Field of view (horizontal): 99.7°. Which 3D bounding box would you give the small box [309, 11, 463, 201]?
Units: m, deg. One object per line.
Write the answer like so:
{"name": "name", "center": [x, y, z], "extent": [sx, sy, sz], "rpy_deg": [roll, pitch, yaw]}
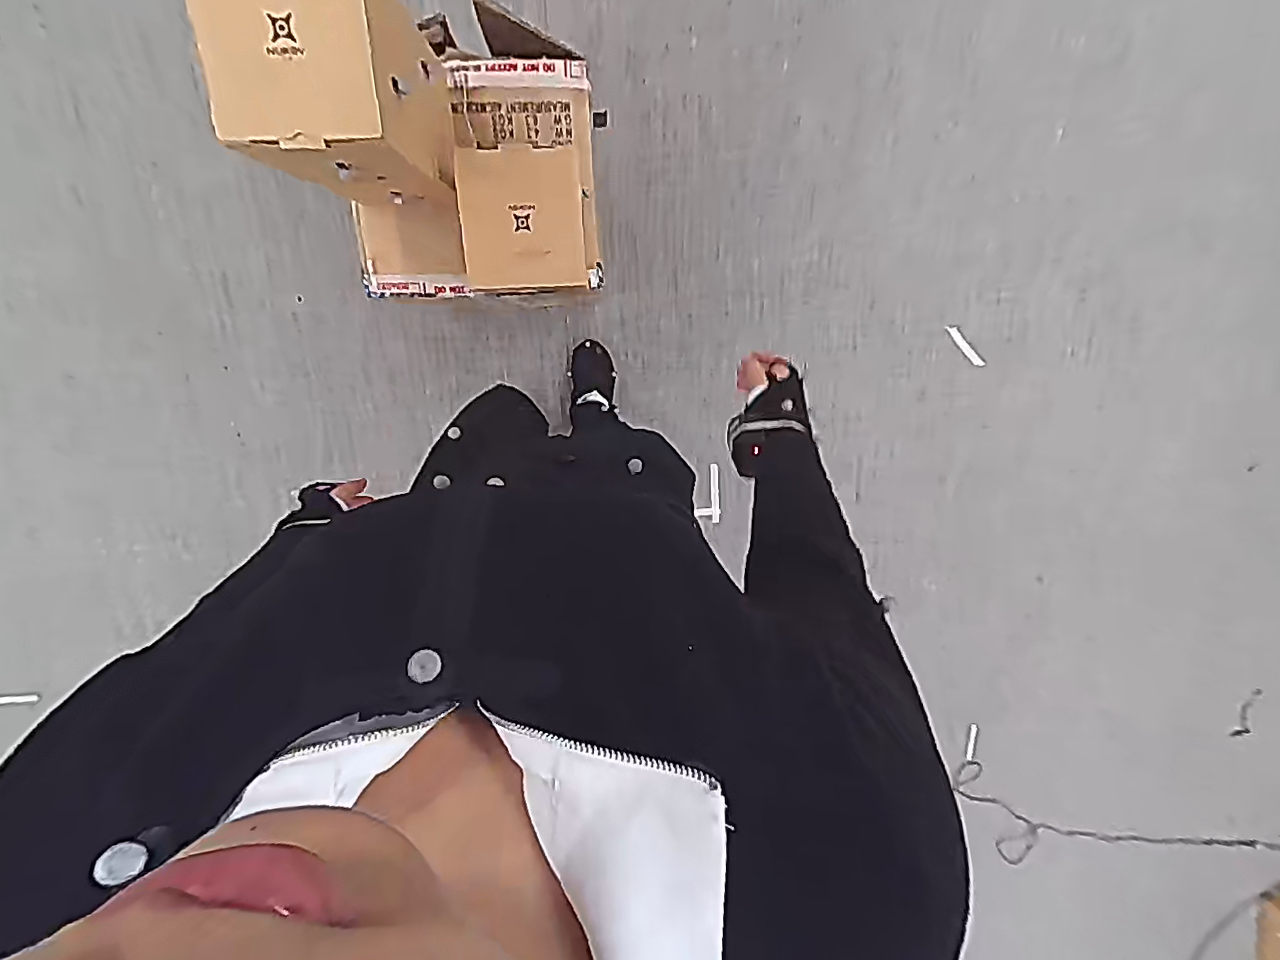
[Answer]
{"name": "small box", "center": [-0.357, -0.503, 0.751], "extent": [0.168, 0.176, 0.179], "rpy_deg": [-4, 107, -2]}

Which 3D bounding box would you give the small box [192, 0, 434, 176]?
{"name": "small box", "center": [-0.342, -0.447, 0.597], "extent": [0.168, 0.176, 0.179], "rpy_deg": [-3, 108, -2]}
